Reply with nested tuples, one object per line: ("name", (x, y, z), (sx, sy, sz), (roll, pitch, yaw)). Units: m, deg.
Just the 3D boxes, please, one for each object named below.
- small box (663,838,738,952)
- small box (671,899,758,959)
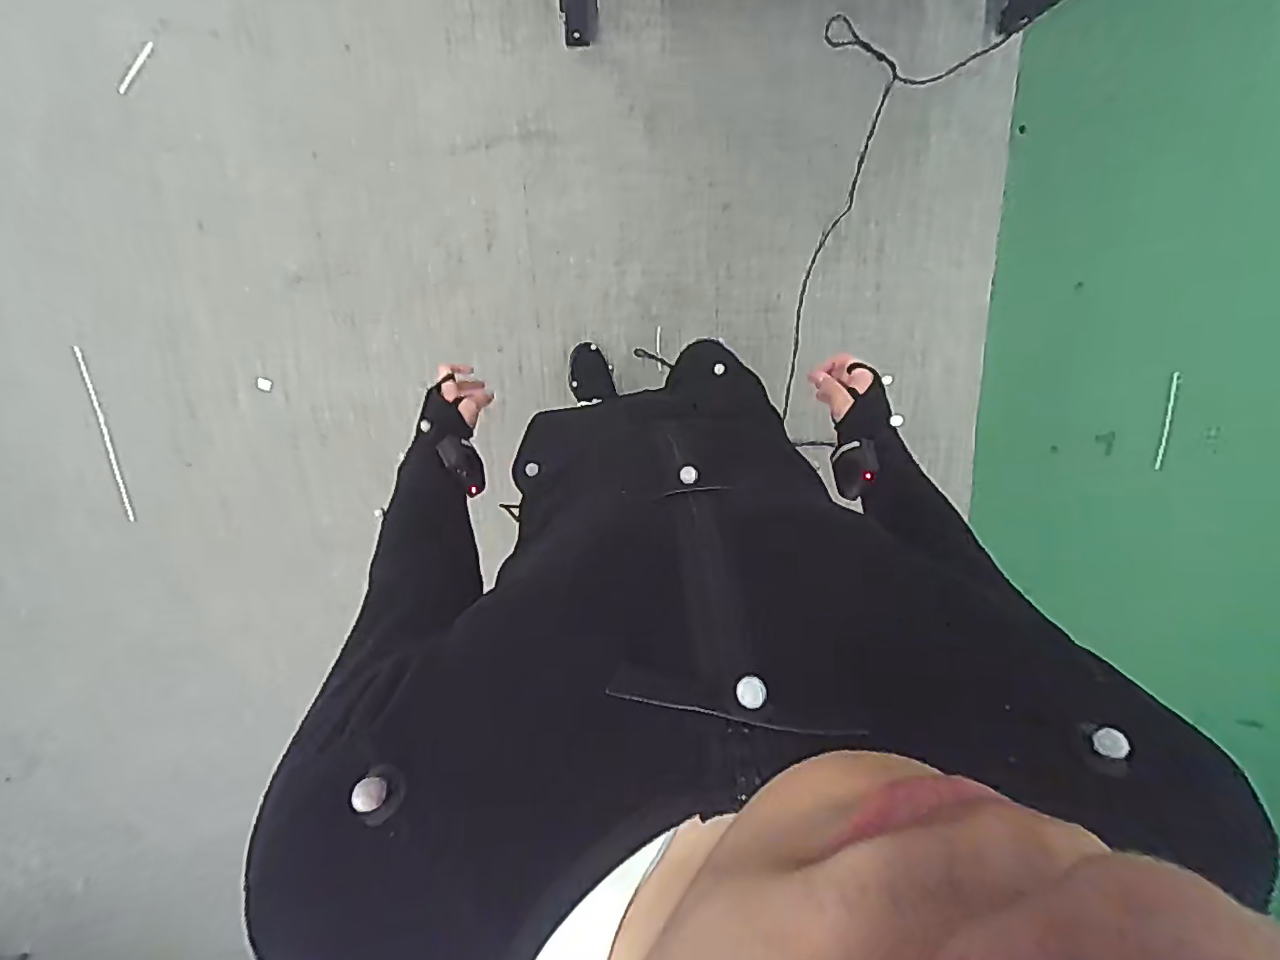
("small box", (0.152, 1.075, 1.407), (0.168, 0.176, 0.179), (1, 103, -4))
("small box", (0.166, 1.108, 1.246), (0.168, 0.176, 0.179), (2, 104, -4))
